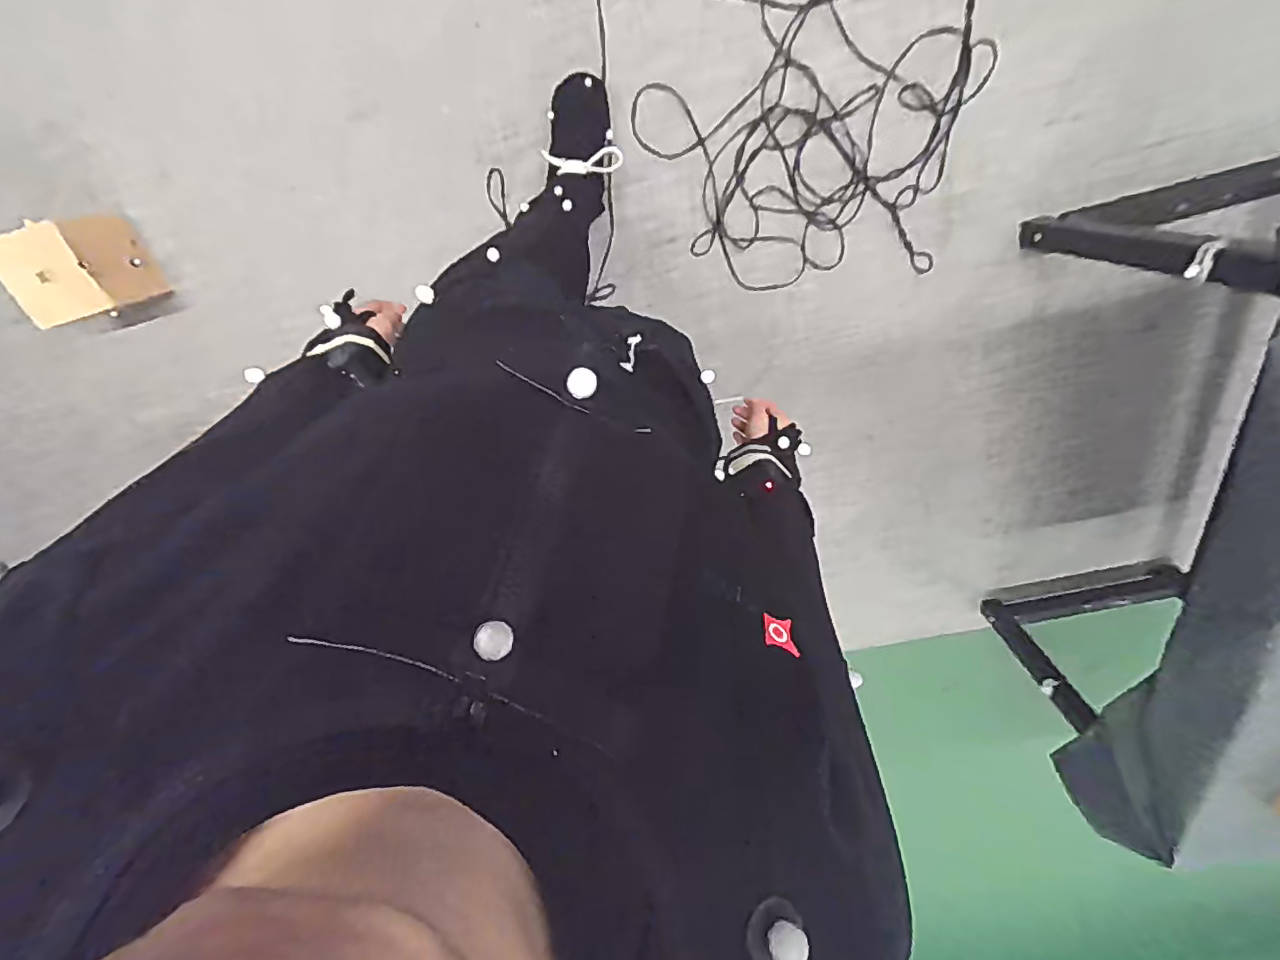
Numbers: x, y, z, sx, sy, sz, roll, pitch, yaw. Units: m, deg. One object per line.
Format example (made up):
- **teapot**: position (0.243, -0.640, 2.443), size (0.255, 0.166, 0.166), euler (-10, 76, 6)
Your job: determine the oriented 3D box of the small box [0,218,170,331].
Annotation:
- **small box**: position (-1.134, -0.421, 1.100), size (0.179, 0.176, 0.168), euler (-14, 119, 6)
